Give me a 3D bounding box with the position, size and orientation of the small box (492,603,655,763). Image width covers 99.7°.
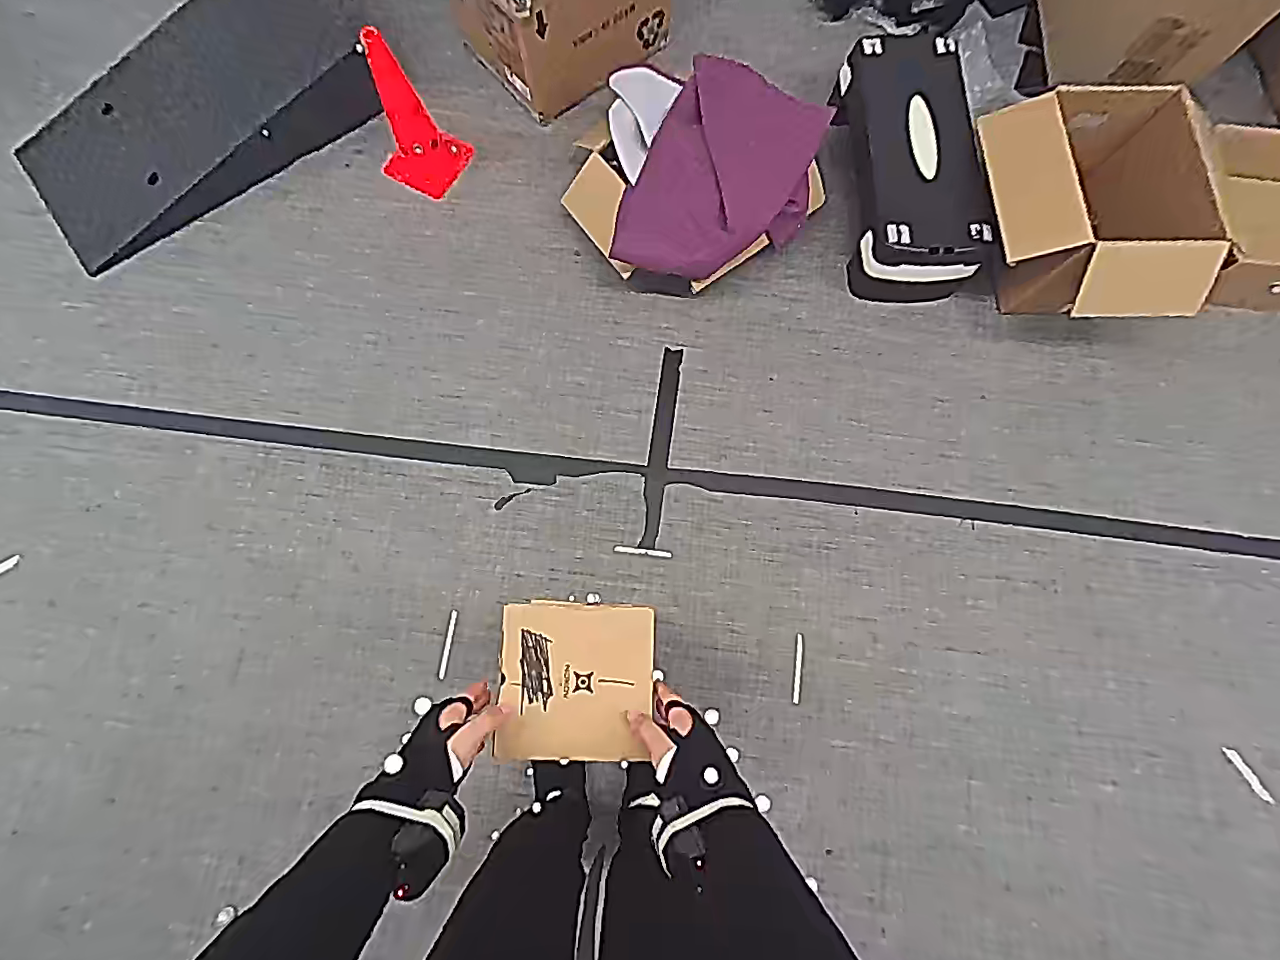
[{"bbox_3d":[-0.072,0.243,0.680,0.179,0.176,0.168,1,77,-1],"label":"small box"}]
